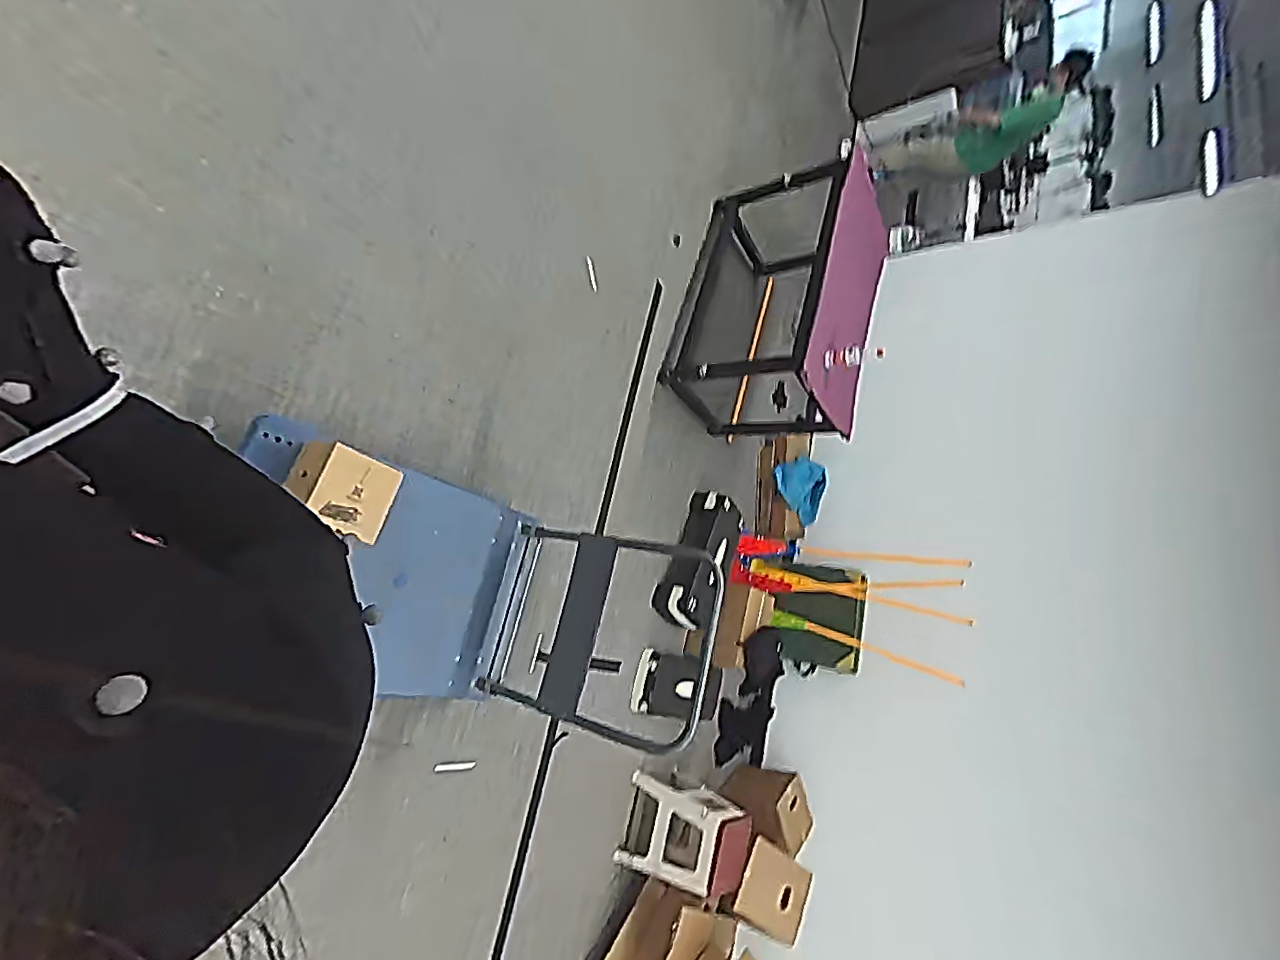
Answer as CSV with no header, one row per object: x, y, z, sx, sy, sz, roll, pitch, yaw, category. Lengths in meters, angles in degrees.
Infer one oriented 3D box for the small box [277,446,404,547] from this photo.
-0.675,0.037,1.213,0.168,0.176,0.179,37,63,-47,small box
